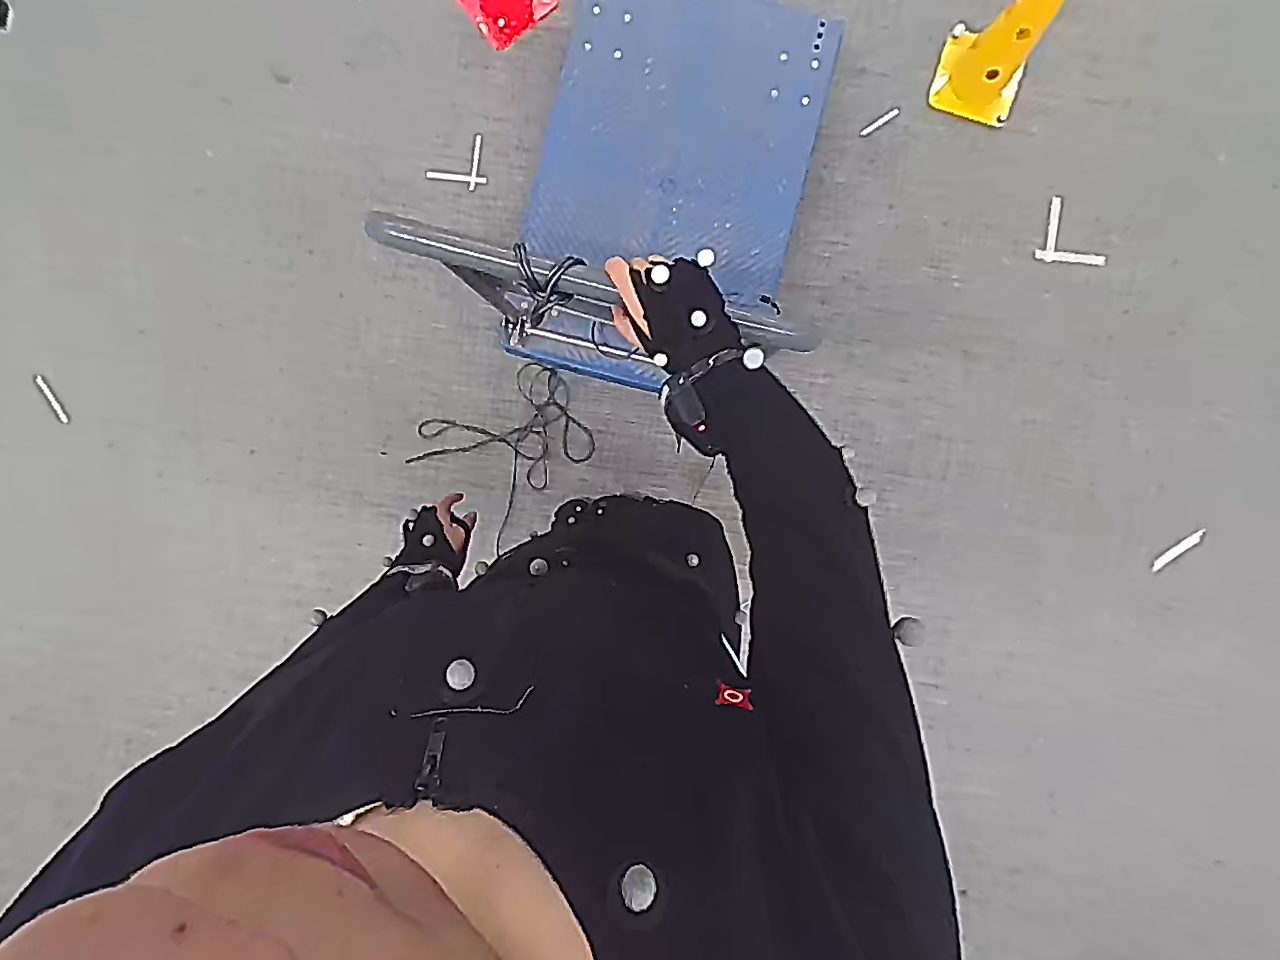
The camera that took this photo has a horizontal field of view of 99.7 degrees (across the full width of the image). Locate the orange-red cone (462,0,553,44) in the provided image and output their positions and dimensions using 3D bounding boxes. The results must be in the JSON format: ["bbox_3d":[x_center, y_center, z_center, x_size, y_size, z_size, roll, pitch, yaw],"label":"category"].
[{"bbox_3d":[-0.336,-1.203,1.167,0.199,0.360,0.198,-36,92,0],"label":"orange-red cone"}]
